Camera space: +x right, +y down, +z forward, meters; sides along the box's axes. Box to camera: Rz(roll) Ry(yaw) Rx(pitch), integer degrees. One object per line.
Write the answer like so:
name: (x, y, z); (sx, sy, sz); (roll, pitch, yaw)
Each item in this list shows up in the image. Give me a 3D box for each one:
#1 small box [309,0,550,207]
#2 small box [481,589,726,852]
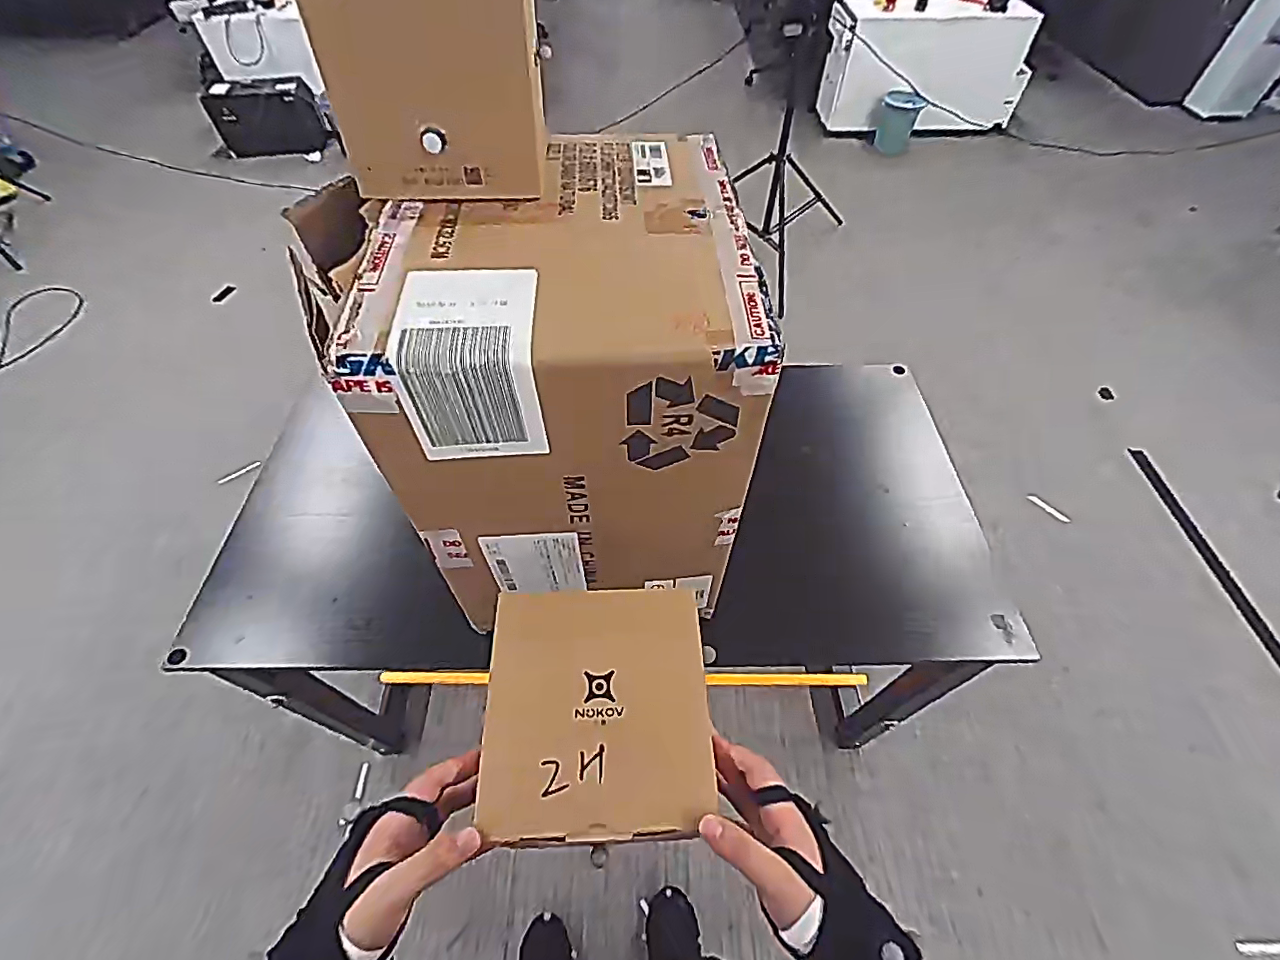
small box: (-0.173, -0.373, 0.492); (0.168, 0.176, 0.179); (-3, 51, -6)
small box: (-0.030, 0.210, 0.469); (0.168, 0.176, 0.179); (-1, 54, -3)
